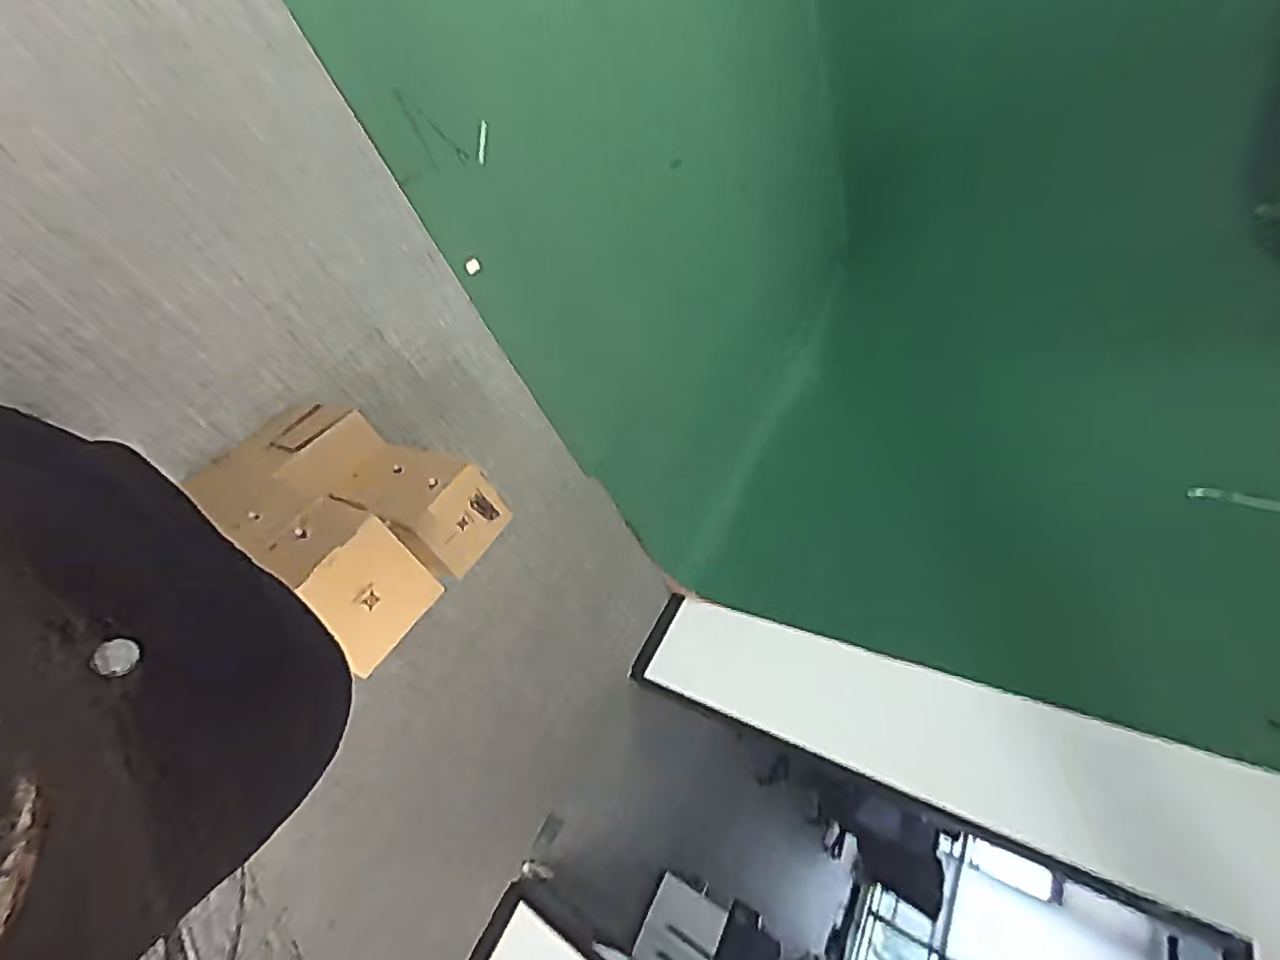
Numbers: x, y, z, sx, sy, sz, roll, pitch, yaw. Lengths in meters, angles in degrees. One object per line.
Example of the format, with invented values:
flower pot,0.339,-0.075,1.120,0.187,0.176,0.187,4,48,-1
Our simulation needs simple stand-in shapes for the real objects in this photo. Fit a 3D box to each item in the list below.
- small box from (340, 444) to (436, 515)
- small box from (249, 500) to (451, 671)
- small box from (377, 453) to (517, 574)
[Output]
small box,-0.522,0.037,1.215,0.168,0.176,0.179,-54,137,-31
small box,-0.433,0.149,0.815,0.168,0.176,0.179,-53,134,-30
small box,-0.395,0.062,1.111,0.179,0.176,0.168,-56,137,-30
